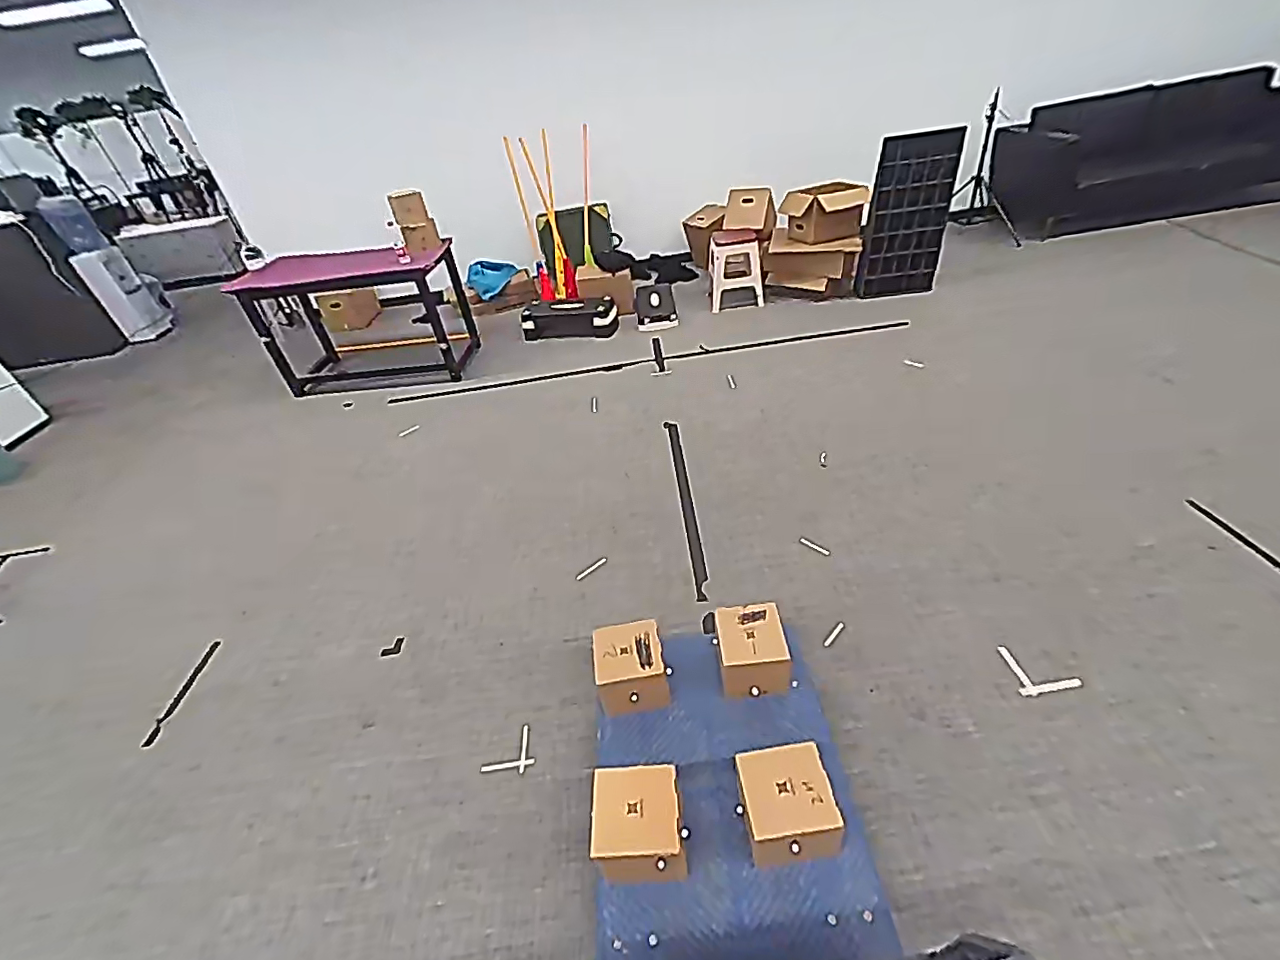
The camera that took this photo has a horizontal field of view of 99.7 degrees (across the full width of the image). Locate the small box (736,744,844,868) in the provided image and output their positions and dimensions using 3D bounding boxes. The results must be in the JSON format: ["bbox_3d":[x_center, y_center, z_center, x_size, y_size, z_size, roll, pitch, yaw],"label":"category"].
[{"bbox_3d":[0.308,0.687,1.137,0.179,0.176,0.168,-9,38,0],"label":"small box"}]

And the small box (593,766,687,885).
[{"bbox_3d":[0.002,0.733,1.144,0.179,0.176,0.168,-5,38,2],"label":"small box"}]

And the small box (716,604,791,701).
[{"bbox_3d":[0.293,0.457,1.432,0.168,0.176,0.179,-7,39,3],"label":"small box"}]
